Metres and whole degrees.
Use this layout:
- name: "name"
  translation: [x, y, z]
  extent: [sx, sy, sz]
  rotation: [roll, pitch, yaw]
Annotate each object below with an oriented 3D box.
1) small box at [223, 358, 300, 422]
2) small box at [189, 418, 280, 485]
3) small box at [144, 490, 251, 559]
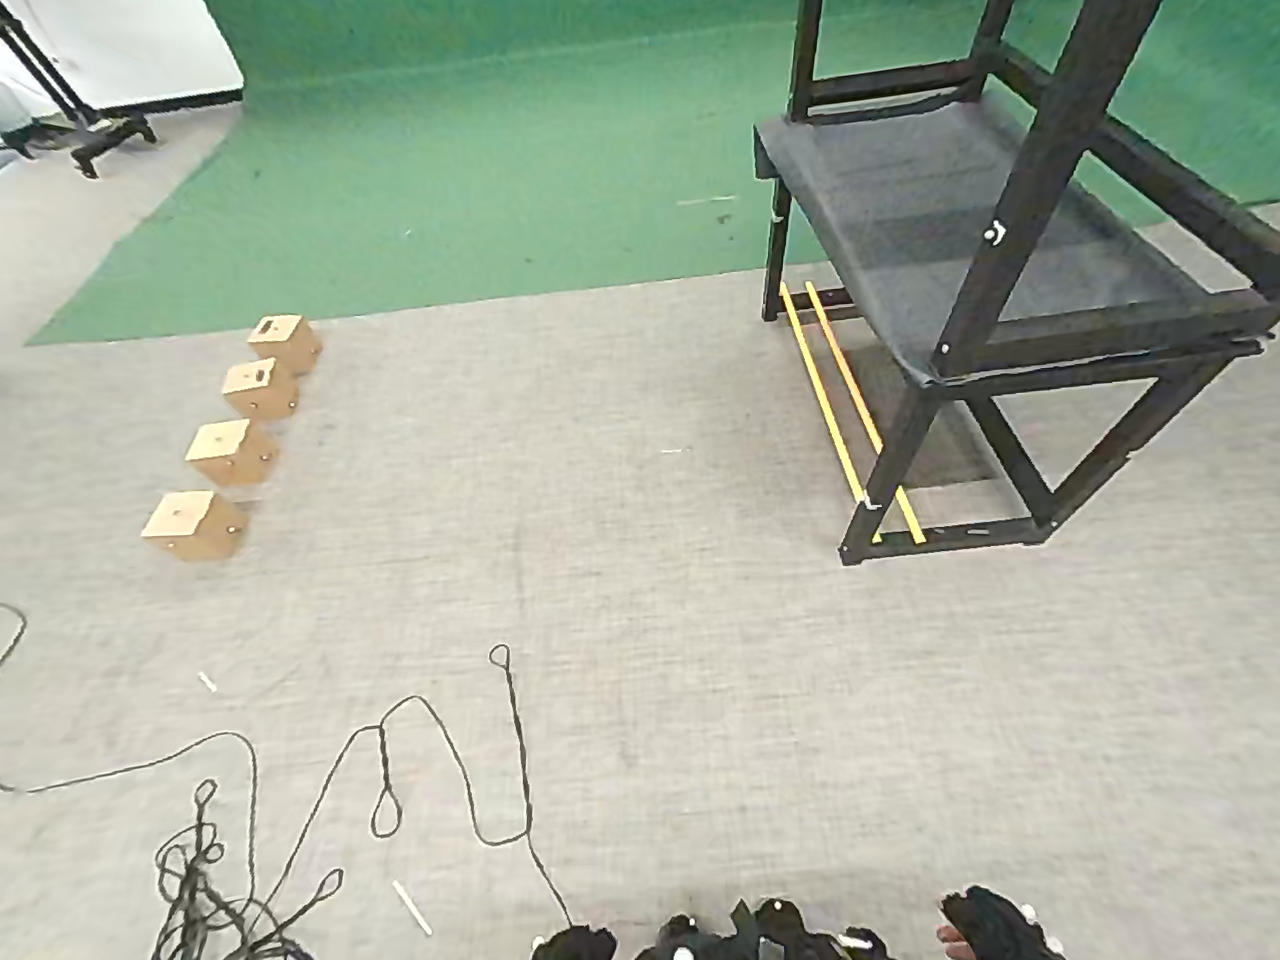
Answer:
- name: "small box"
  translation: [-1.486, -0.351, 2.136]
  extent: [0.179, 0.176, 0.168]
  rotation: [-13, 53, -2]
- name: "small box"
  translation: [-1.454, -0.097, 1.948]
  extent: [0.179, 0.176, 0.168]
  rotation: [-8, 54, -1]
- name: "small box"
  translation: [-1.435, 0.149, 1.768]
  extent: [0.179, 0.176, 0.168]
  rotation: [-3, 55, 4]
